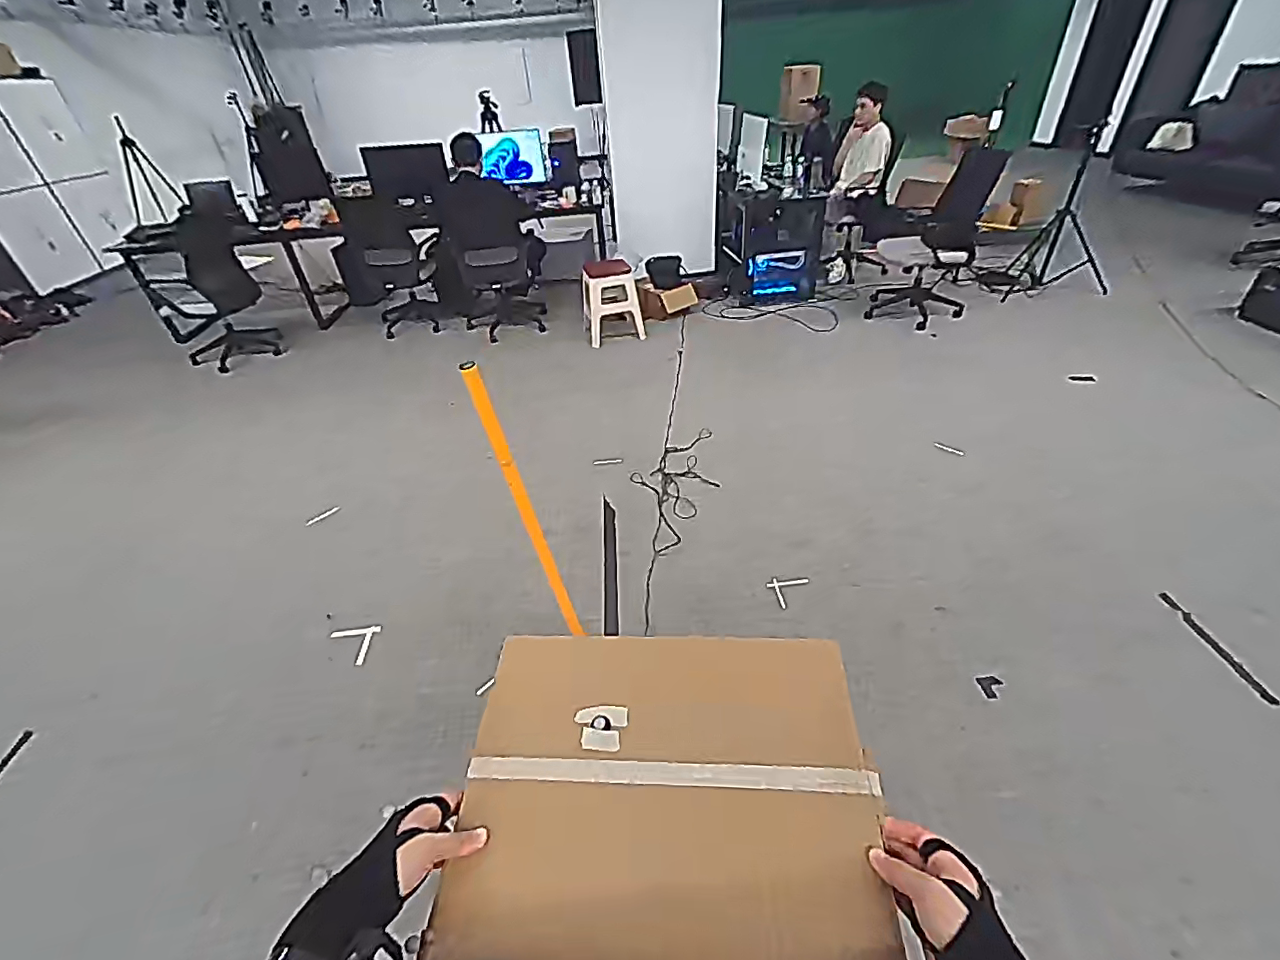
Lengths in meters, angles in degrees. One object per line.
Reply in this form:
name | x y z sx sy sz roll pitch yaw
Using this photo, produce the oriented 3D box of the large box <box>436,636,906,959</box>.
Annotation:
large box | 0.045 0.408 0.657 0.408 0.320 0.320 -3 42 8
